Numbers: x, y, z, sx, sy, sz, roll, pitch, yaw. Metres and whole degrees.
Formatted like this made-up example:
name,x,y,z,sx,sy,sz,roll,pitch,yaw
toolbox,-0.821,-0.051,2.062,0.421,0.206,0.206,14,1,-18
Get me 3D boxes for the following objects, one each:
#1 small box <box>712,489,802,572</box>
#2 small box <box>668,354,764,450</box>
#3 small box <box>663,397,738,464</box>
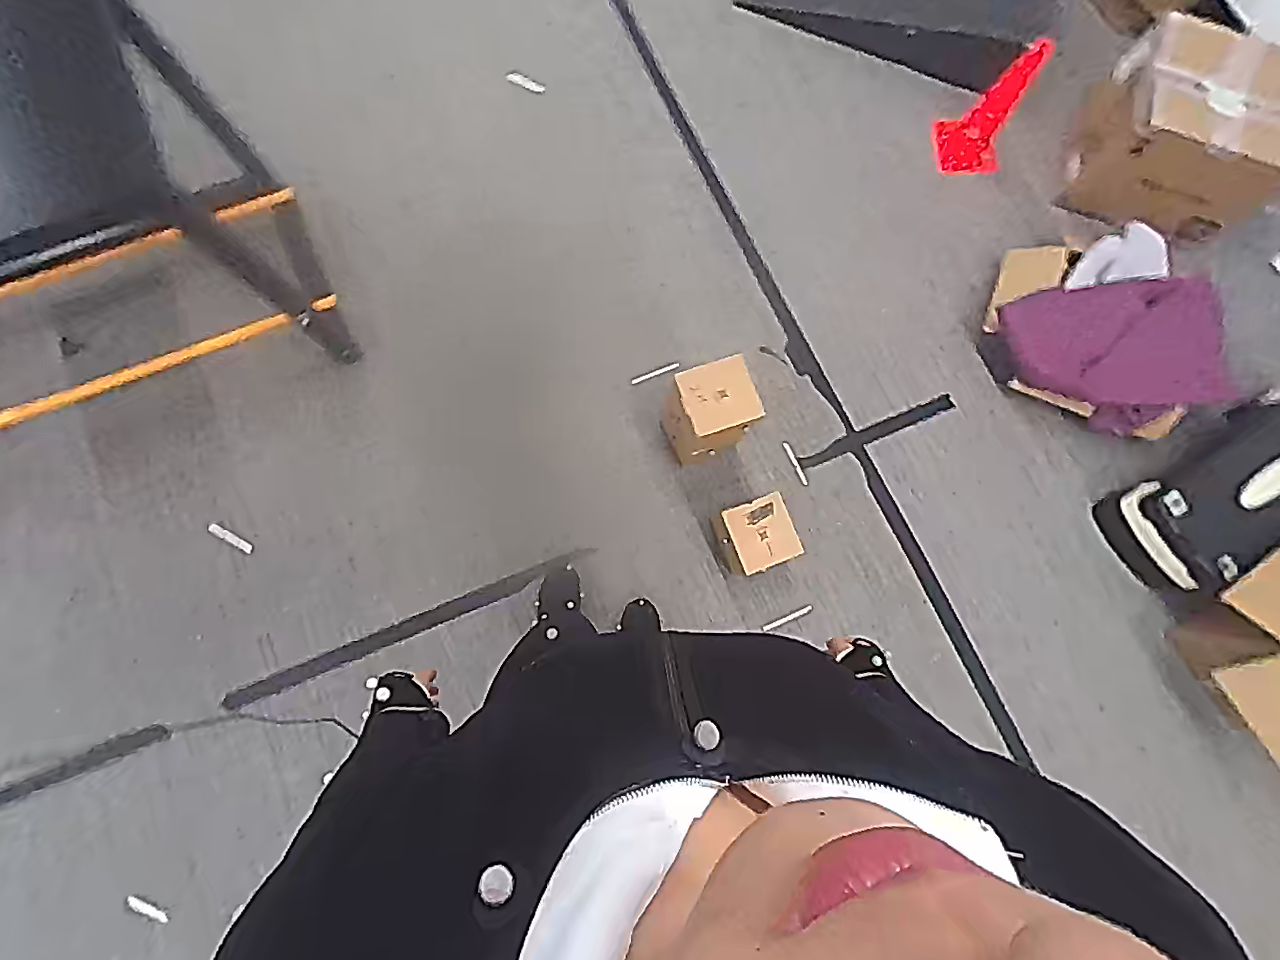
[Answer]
name,x,y,z,sx,sy,sz,roll,pitch,yaw
small box,0.308,0.142,1.467,0.168,0.176,0.179,-20,83,-6
small box,0.182,-0.189,1.349,0.179,0.176,0.168,-18,81,-5
small box,0.172,-0.160,1.512,0.179,0.176,0.168,-24,82,-6
